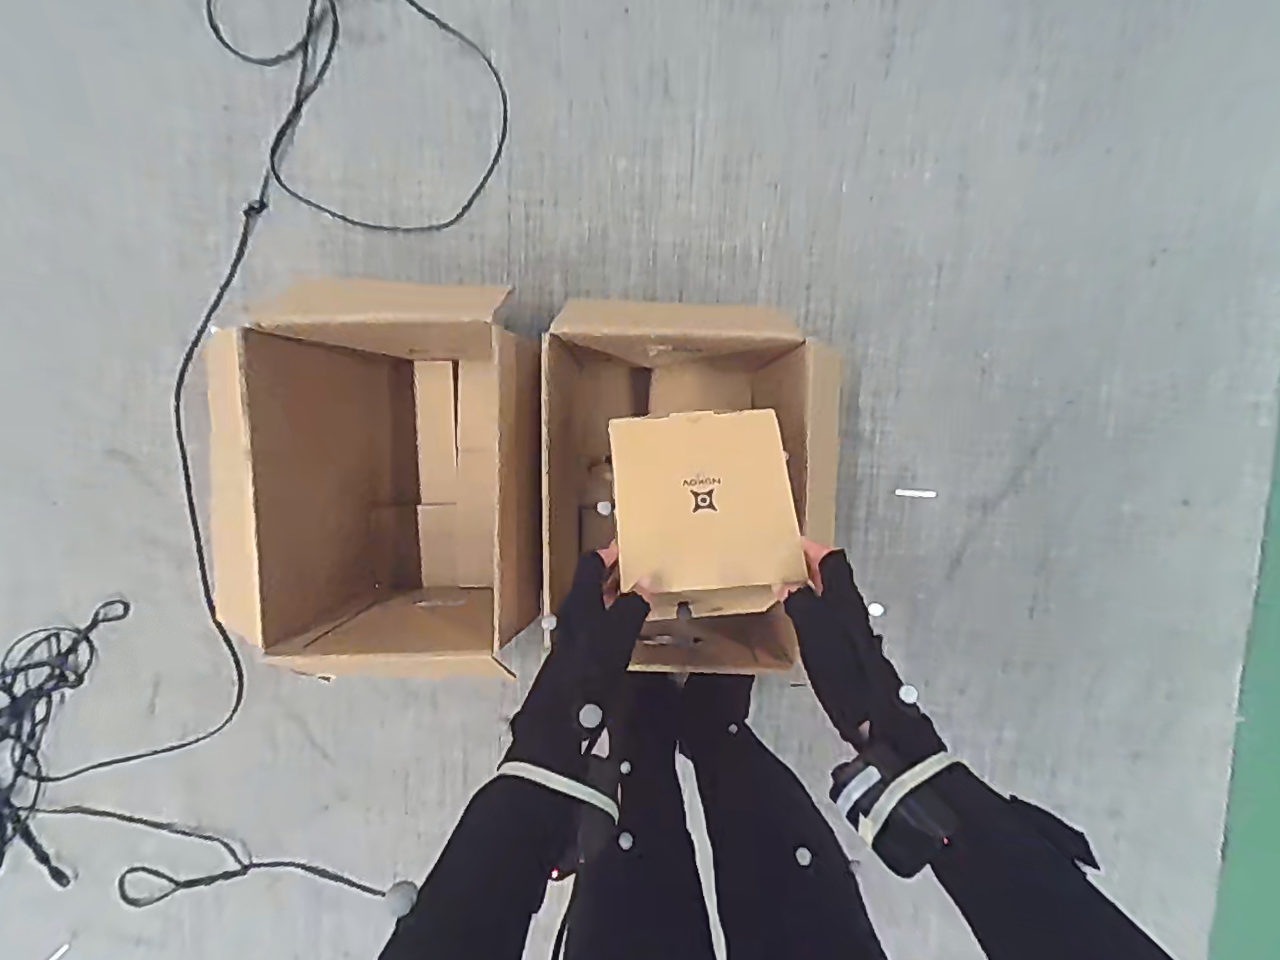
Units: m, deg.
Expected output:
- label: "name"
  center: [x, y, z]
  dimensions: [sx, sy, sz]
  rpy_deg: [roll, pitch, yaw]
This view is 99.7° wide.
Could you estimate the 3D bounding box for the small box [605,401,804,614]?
- label: "small box"
  center: [0.053, 0.039, 0.560]
  dimensions: [0.168, 0.176, 0.179]
  rpy_deg: [-4, 67, -3]
